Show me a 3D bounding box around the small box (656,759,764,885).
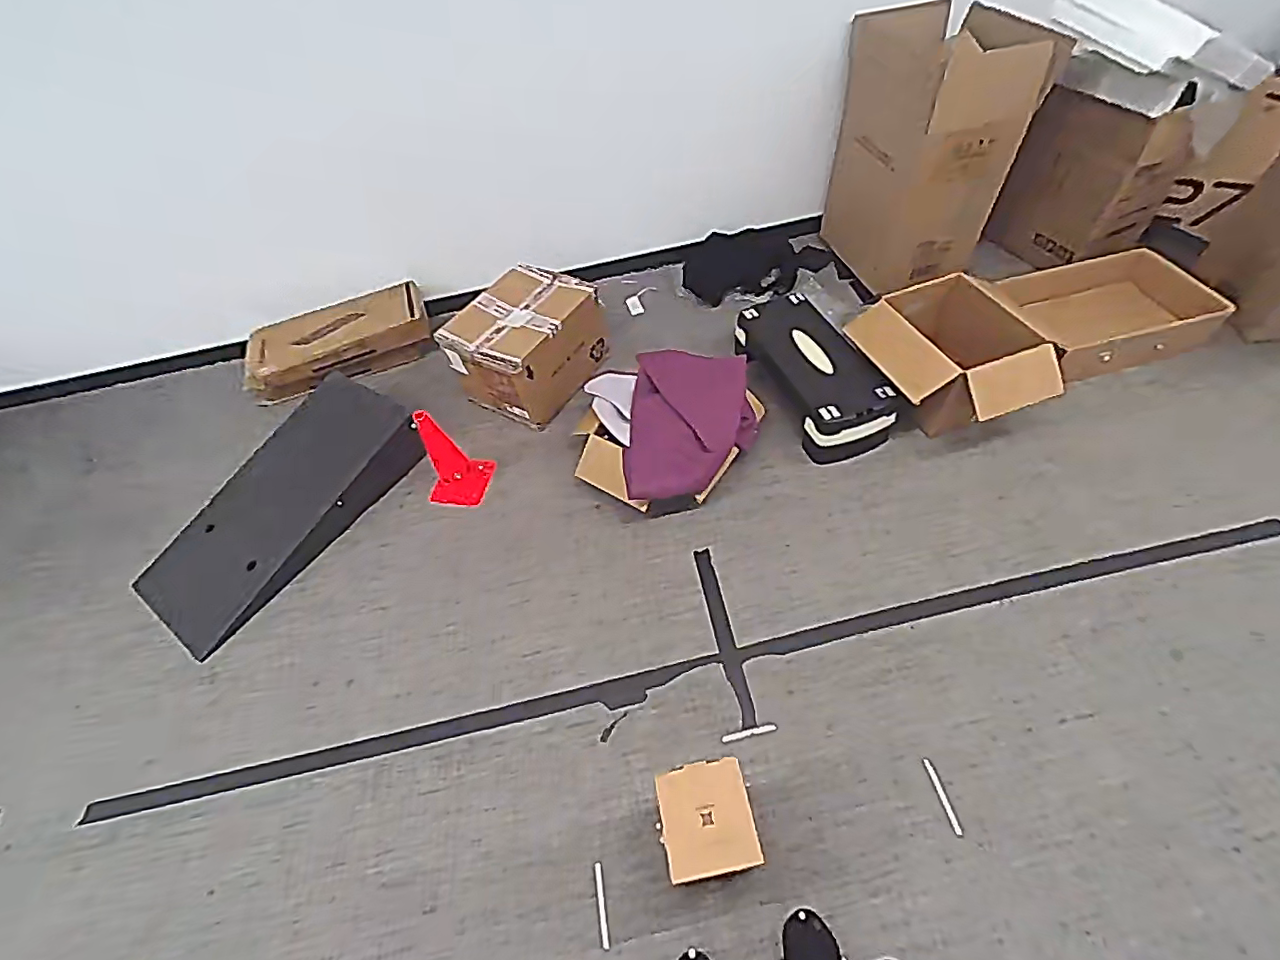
[{"bbox_3d":[0.132,0.667,1.051,0.168,0.176,0.179,-13,54,0],"label":"small box"}]
